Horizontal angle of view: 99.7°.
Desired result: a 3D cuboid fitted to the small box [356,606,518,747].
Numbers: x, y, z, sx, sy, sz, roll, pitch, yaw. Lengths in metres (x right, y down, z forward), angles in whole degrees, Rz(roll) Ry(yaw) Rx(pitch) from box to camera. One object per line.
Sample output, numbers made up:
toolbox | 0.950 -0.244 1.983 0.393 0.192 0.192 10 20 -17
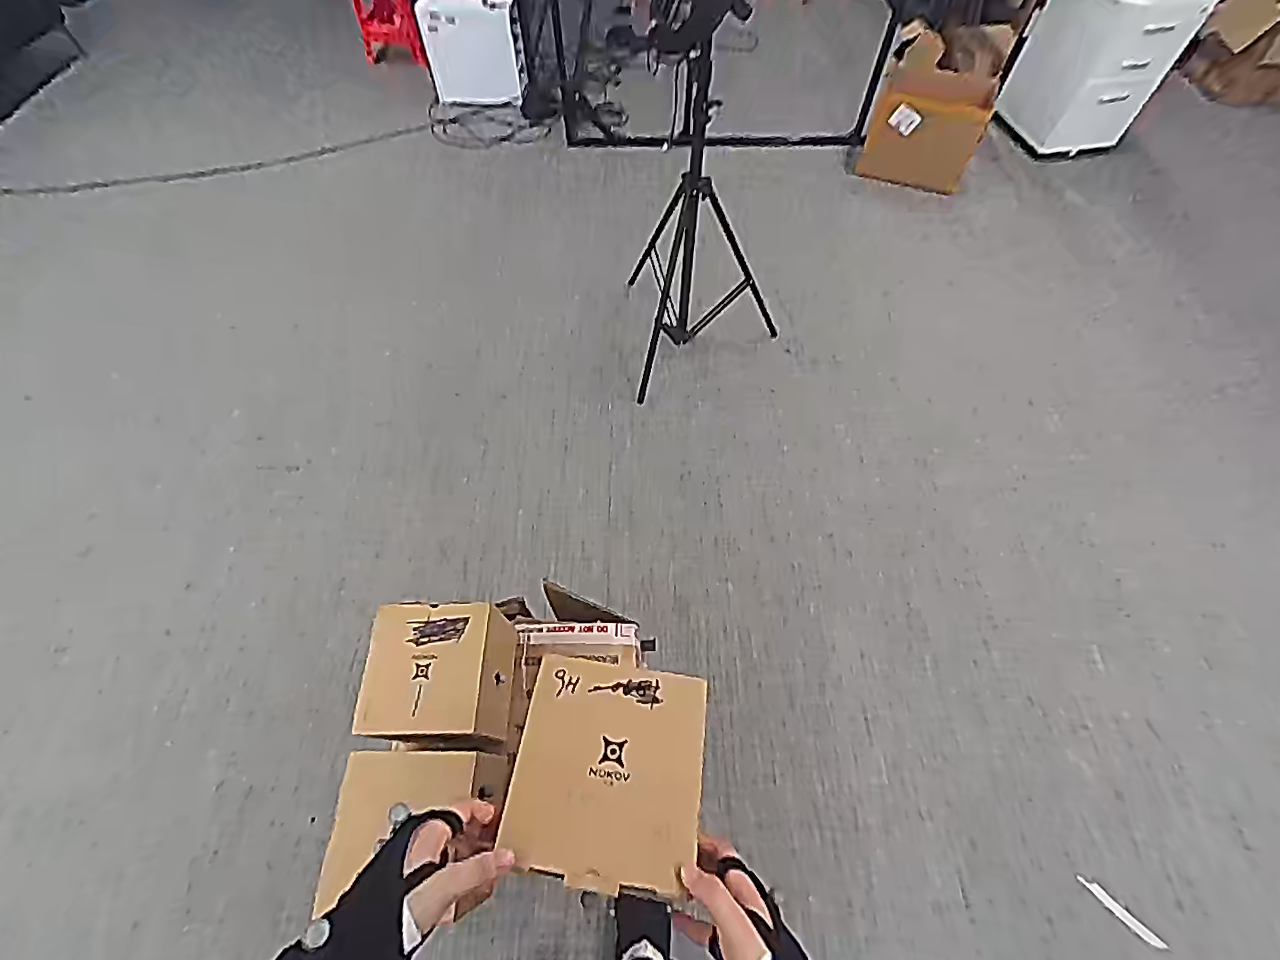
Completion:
small box | -0.287 0.298 0.811 0.168 0.176 0.179 -2 61 2

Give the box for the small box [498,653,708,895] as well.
small box | -0.028 0.300 0.550 0.168 0.176 0.179 8 53 2
